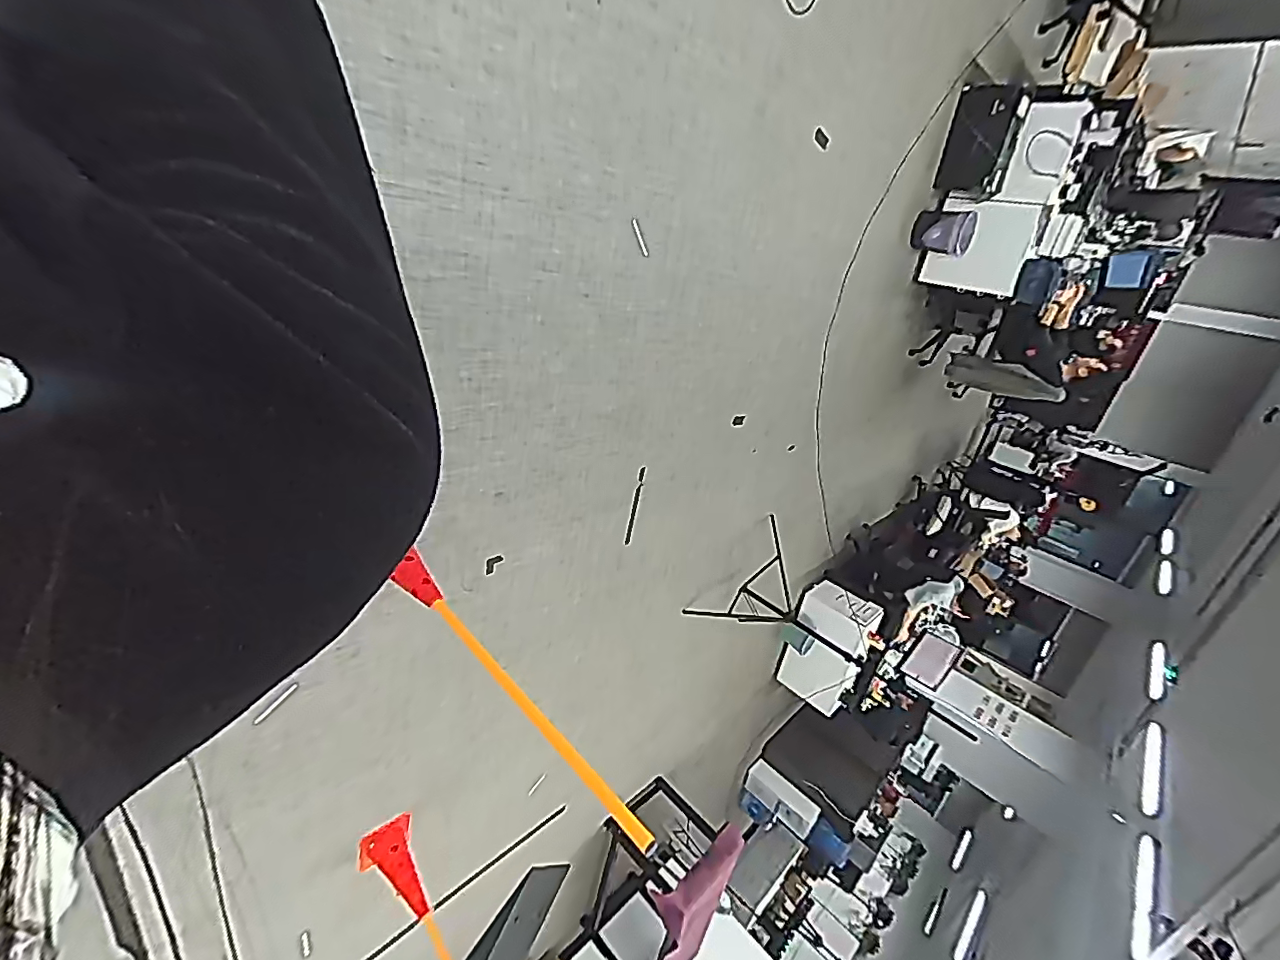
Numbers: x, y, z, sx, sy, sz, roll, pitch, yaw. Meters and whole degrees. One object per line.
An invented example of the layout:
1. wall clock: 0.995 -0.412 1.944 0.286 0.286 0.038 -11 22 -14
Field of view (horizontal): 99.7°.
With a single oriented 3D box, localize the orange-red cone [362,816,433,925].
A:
1. orange-red cone: -0.889 1.527 2.063 0.198 0.360 0.199 -10 122 -46
